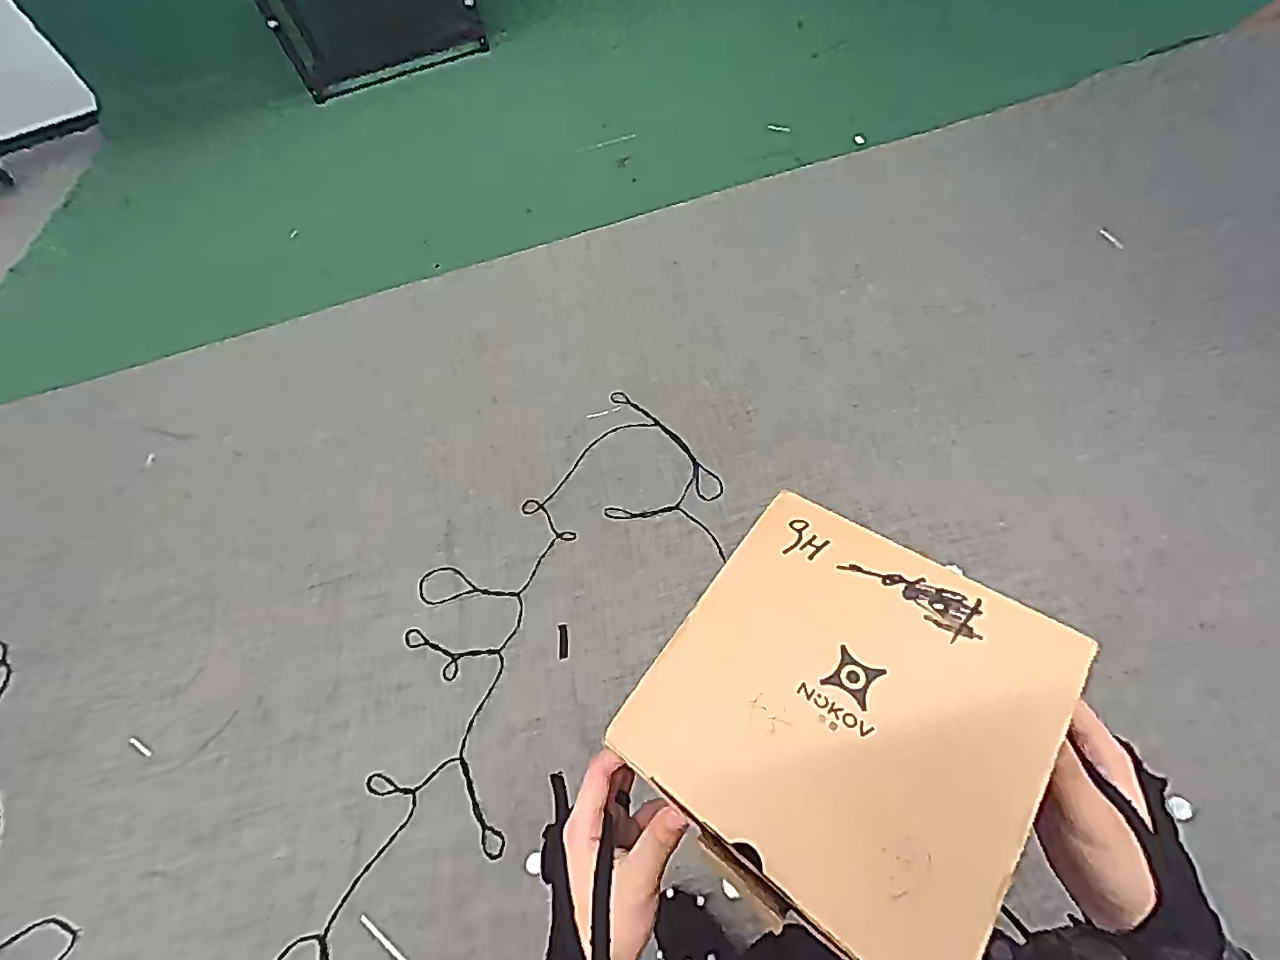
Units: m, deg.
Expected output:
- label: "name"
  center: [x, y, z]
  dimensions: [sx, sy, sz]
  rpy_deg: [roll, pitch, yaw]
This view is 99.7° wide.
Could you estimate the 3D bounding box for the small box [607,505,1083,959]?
- label: "small box"
  center: [0.111, 0.154, 0.328]
  dimensions: [0.168, 0.176, 0.179]
  rpy_deg: [29, 67, 28]
